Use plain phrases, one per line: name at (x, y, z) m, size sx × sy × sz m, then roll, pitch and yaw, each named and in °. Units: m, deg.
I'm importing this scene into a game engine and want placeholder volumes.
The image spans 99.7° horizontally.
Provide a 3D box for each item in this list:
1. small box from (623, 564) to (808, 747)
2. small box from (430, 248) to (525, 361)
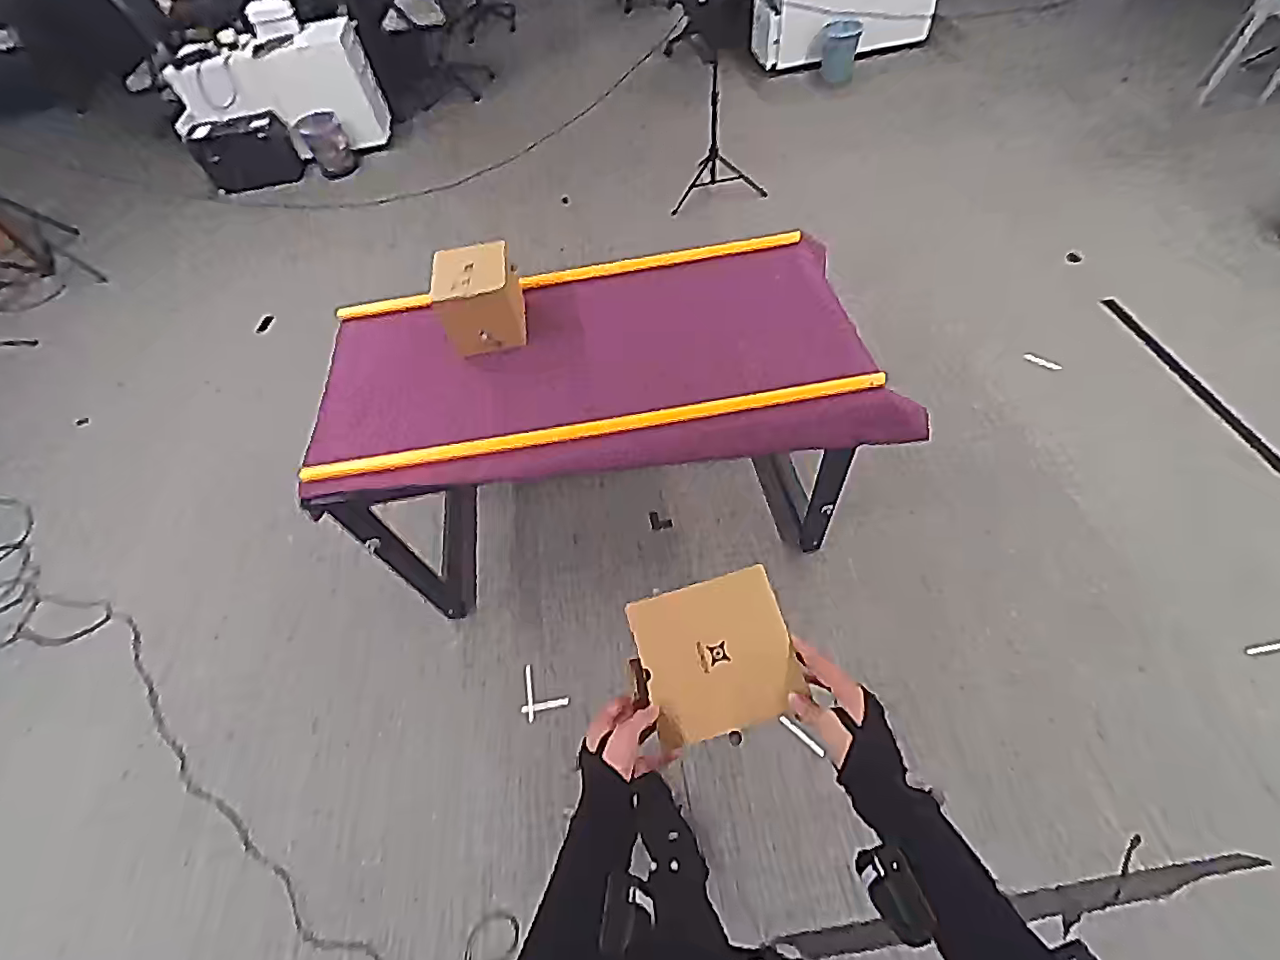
small box at (0.096, 0.222, 0.693) m, size 0.179 × 0.176 × 0.168 m, roll -19°, pitch 68°, yaw 6°
small box at (-0.374, -0.408, 1.269) m, size 0.168 × 0.176 × 0.179 m, roll -10°, pitch 57°, yaw 1°
